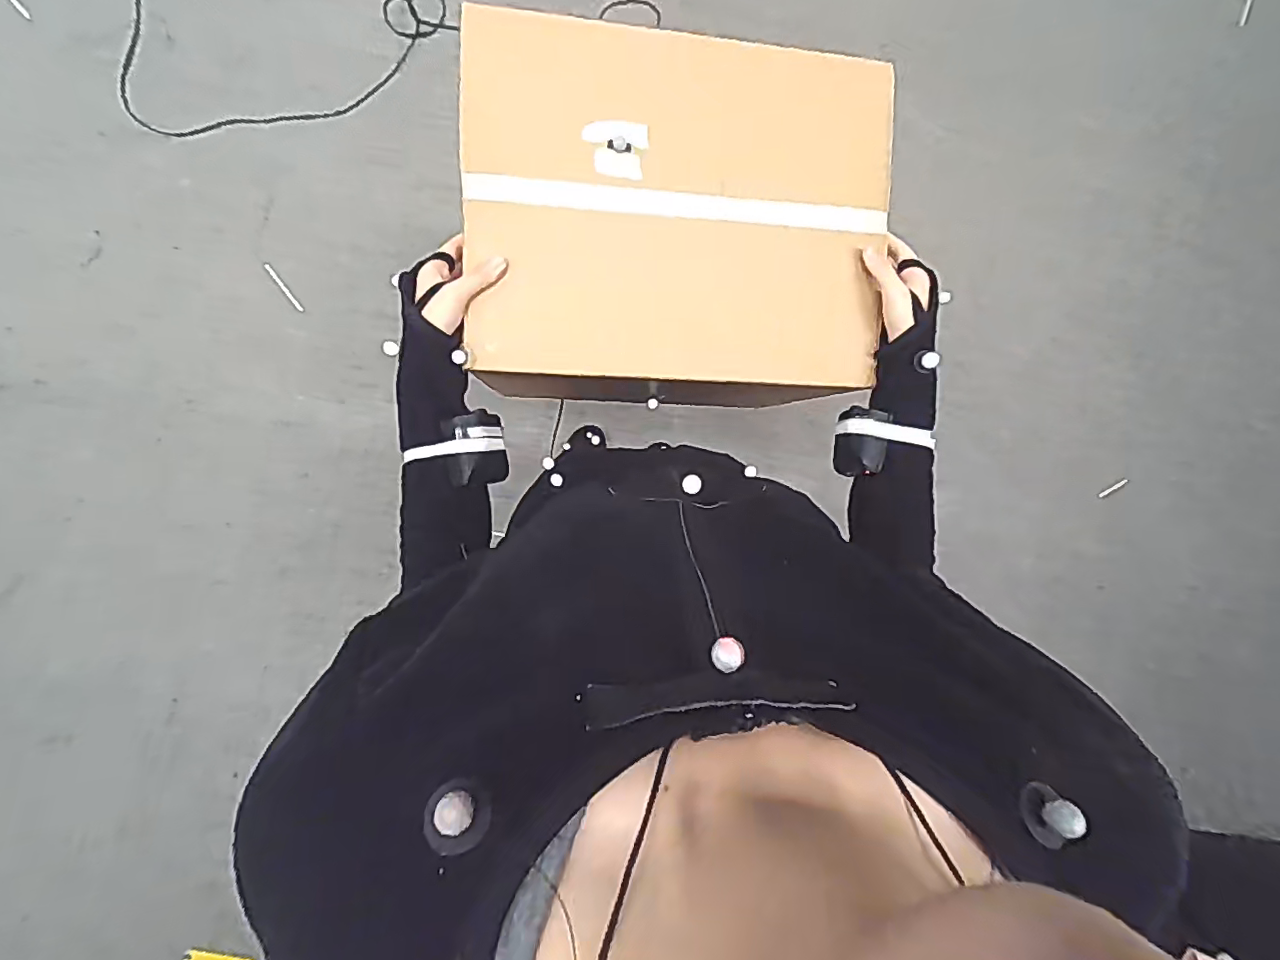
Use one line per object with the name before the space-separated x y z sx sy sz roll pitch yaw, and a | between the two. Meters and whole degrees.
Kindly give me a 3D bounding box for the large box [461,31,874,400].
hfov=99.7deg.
large box | 0.016 -0.263 0.668 0.408 0.320 0.320 1 93 -8
